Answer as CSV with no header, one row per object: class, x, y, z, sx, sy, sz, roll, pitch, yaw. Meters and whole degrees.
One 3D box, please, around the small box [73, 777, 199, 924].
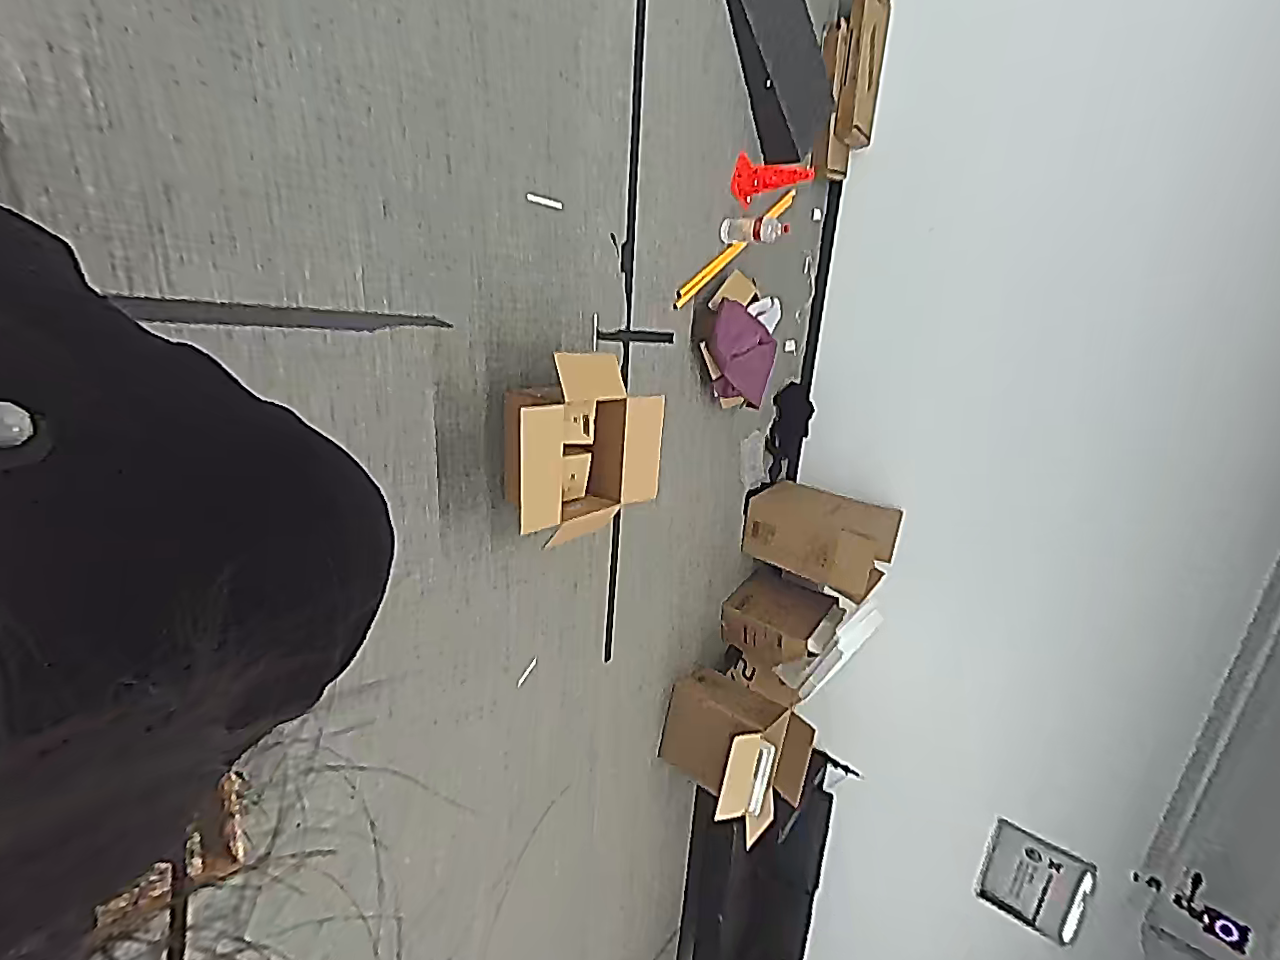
small box,-1.124,0.812,1.209,0.179,0.176,0.168,-9,109,-50
